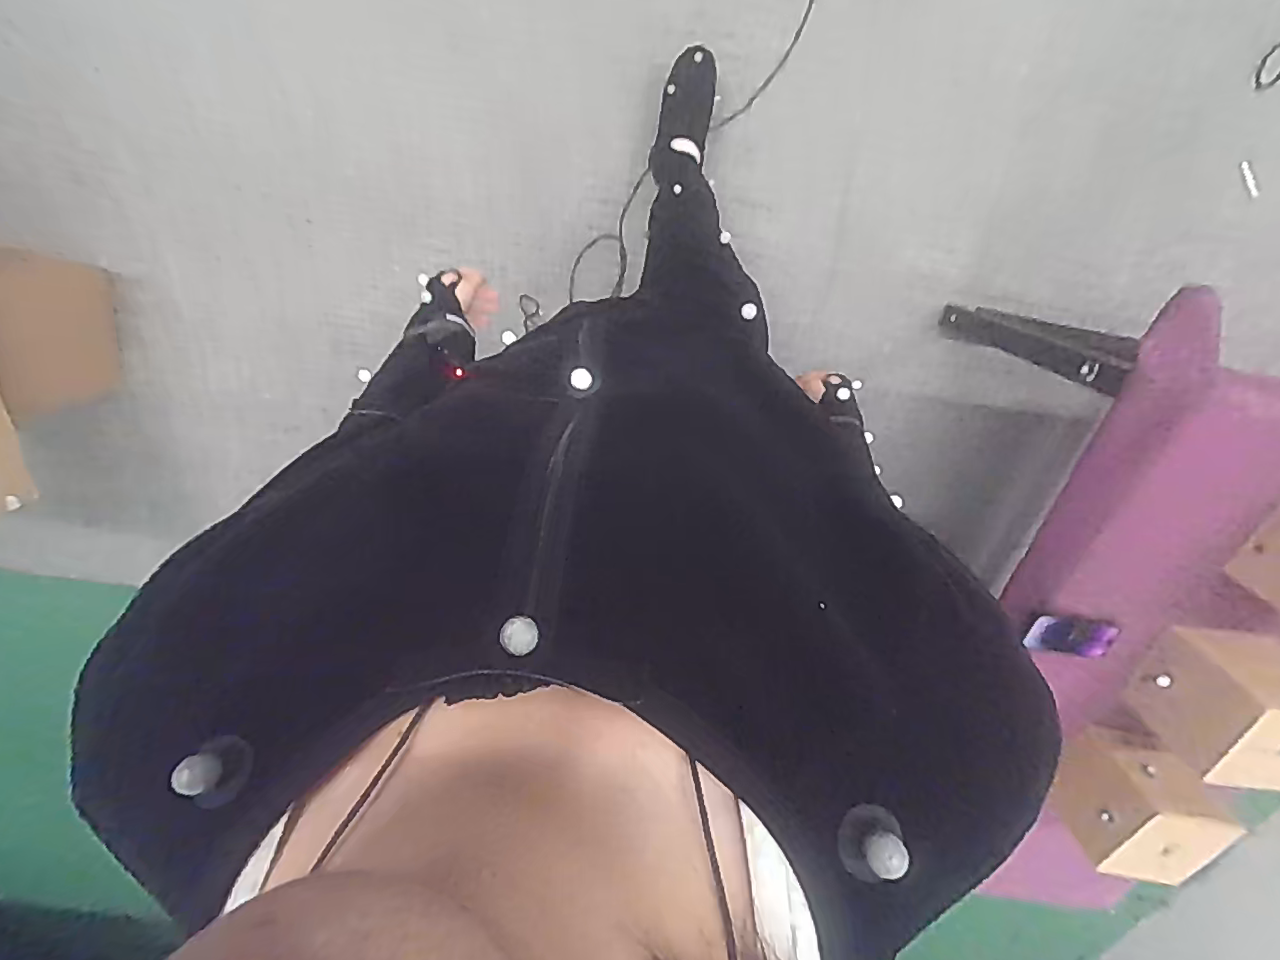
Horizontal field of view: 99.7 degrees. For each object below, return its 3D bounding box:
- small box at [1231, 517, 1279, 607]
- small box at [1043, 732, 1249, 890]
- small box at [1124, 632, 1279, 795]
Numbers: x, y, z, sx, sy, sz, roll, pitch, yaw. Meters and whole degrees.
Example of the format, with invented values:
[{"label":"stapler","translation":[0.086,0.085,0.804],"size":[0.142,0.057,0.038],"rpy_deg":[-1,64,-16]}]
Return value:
[{"label":"small box","translation":[0.992,0.127,0.728],"size":[0.179,0.176,0.168],"rpy_deg":[12,117,-4]},{"label":"small box","translation":[0.880,0.585,0.966],"size":[0.168,0.176,0.179],"rpy_deg":[14,117,-5]},{"label":"small box","translation":[0.940,0.361,0.849],"size":[0.179,0.176,0.168],"rpy_deg":[7,117,-2]}]
